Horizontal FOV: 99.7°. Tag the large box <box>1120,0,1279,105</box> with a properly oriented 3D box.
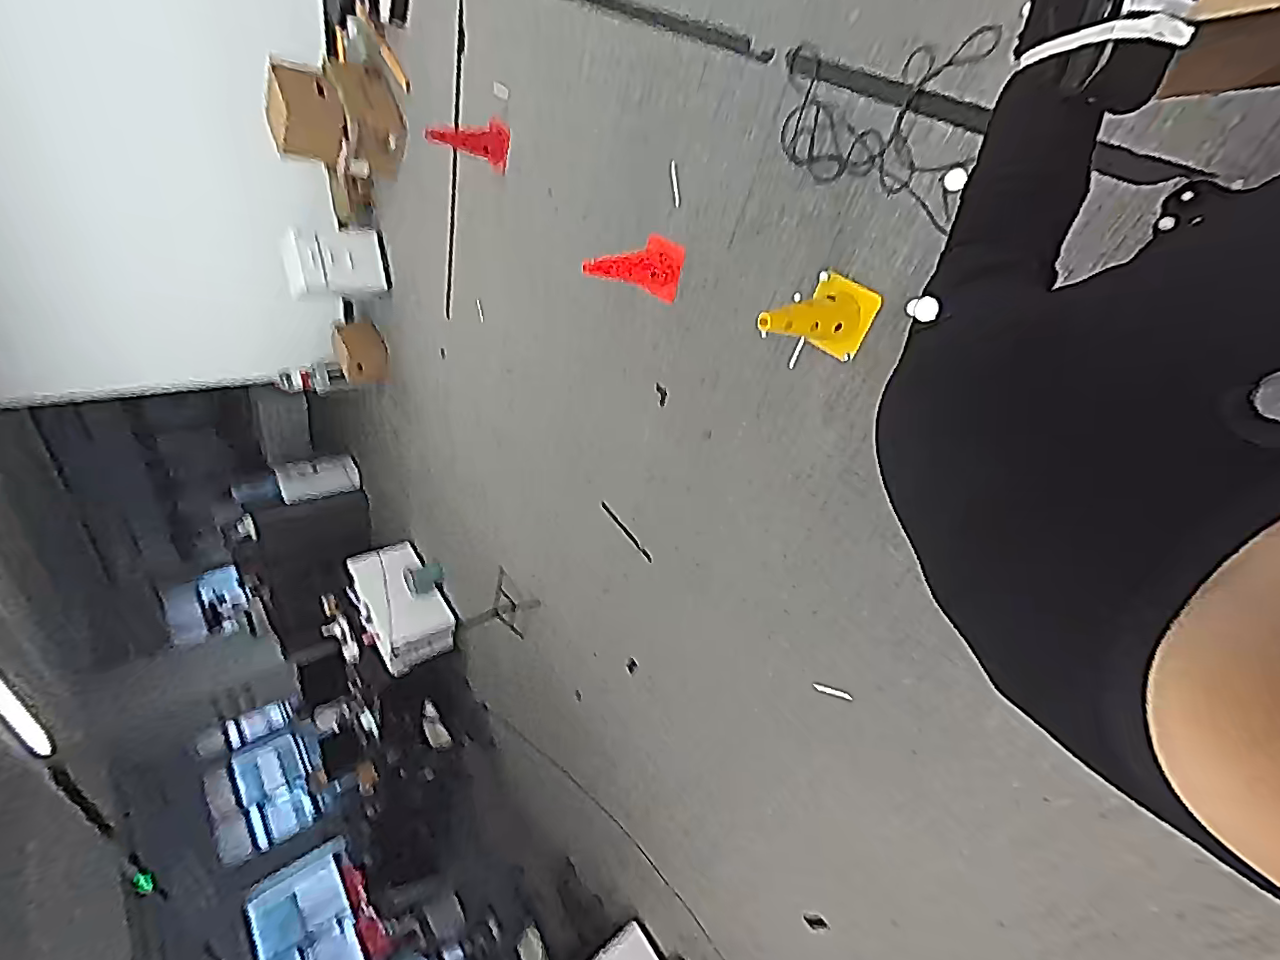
[{"bbox_3d":[0.560,-0.435,0.283,0.408,0.320,0.320,19,122,38],"label":"large box"}]

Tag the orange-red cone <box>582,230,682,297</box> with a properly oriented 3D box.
[{"bbox_3d":[-0.053,-0.765,1.912,0.199,0.360,0.198,42,133,31],"label":"orange-red cone"}]

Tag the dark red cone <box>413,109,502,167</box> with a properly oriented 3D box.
[{"bbox_3d":[-0.845,-1.611,2.501,0.202,0.394,0.201,50,135,26],"label":"dark red cone"}]
